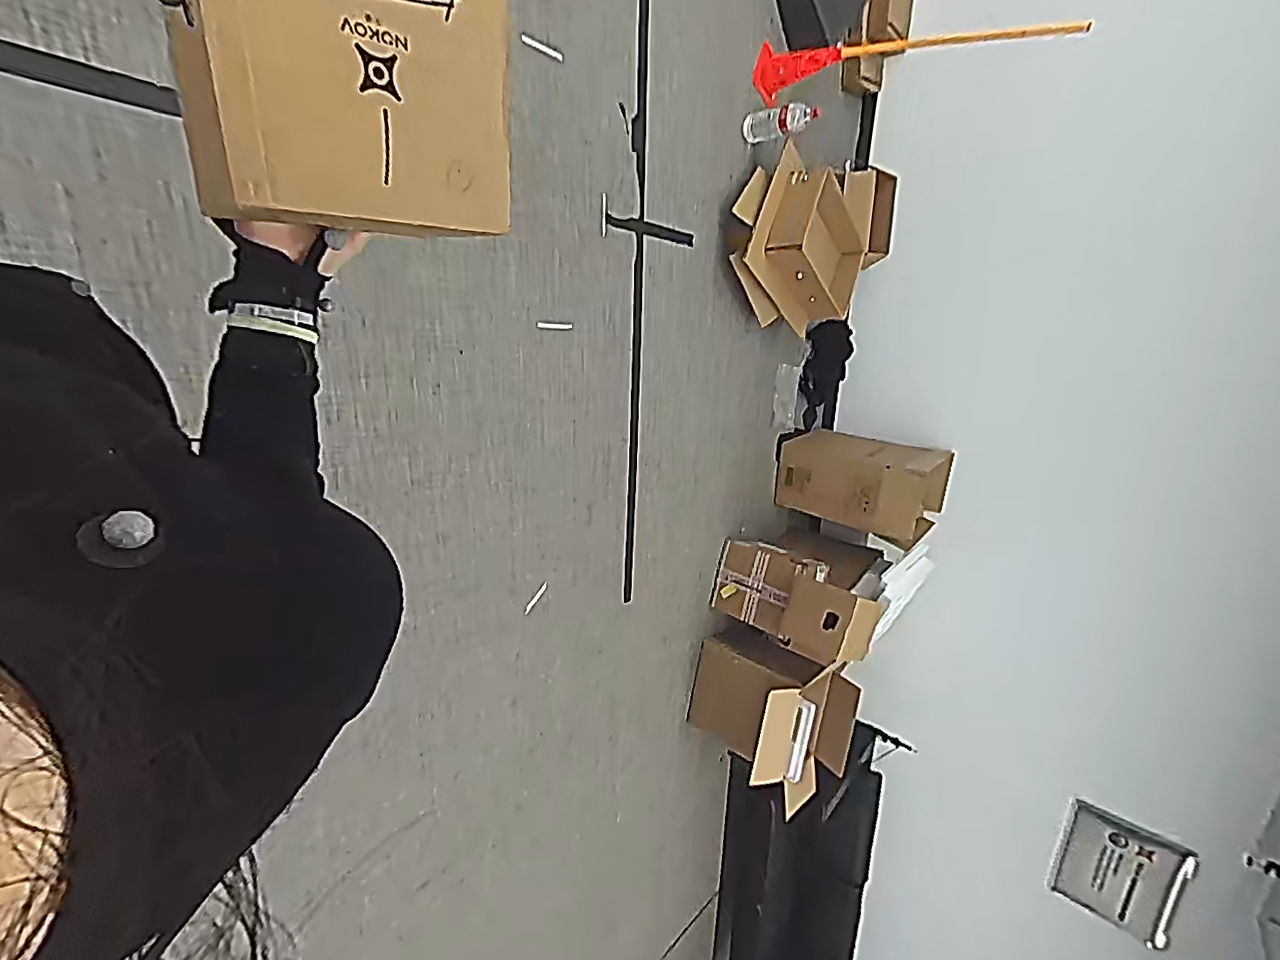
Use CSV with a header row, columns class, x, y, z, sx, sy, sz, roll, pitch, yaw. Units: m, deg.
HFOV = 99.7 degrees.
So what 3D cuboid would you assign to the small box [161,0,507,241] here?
class,x,y,z,sx,sy,sz,roll,pitch,yaw
small box,-0.207,-0.268,0.372,0.168,0.176,0.179,-14,118,-40
